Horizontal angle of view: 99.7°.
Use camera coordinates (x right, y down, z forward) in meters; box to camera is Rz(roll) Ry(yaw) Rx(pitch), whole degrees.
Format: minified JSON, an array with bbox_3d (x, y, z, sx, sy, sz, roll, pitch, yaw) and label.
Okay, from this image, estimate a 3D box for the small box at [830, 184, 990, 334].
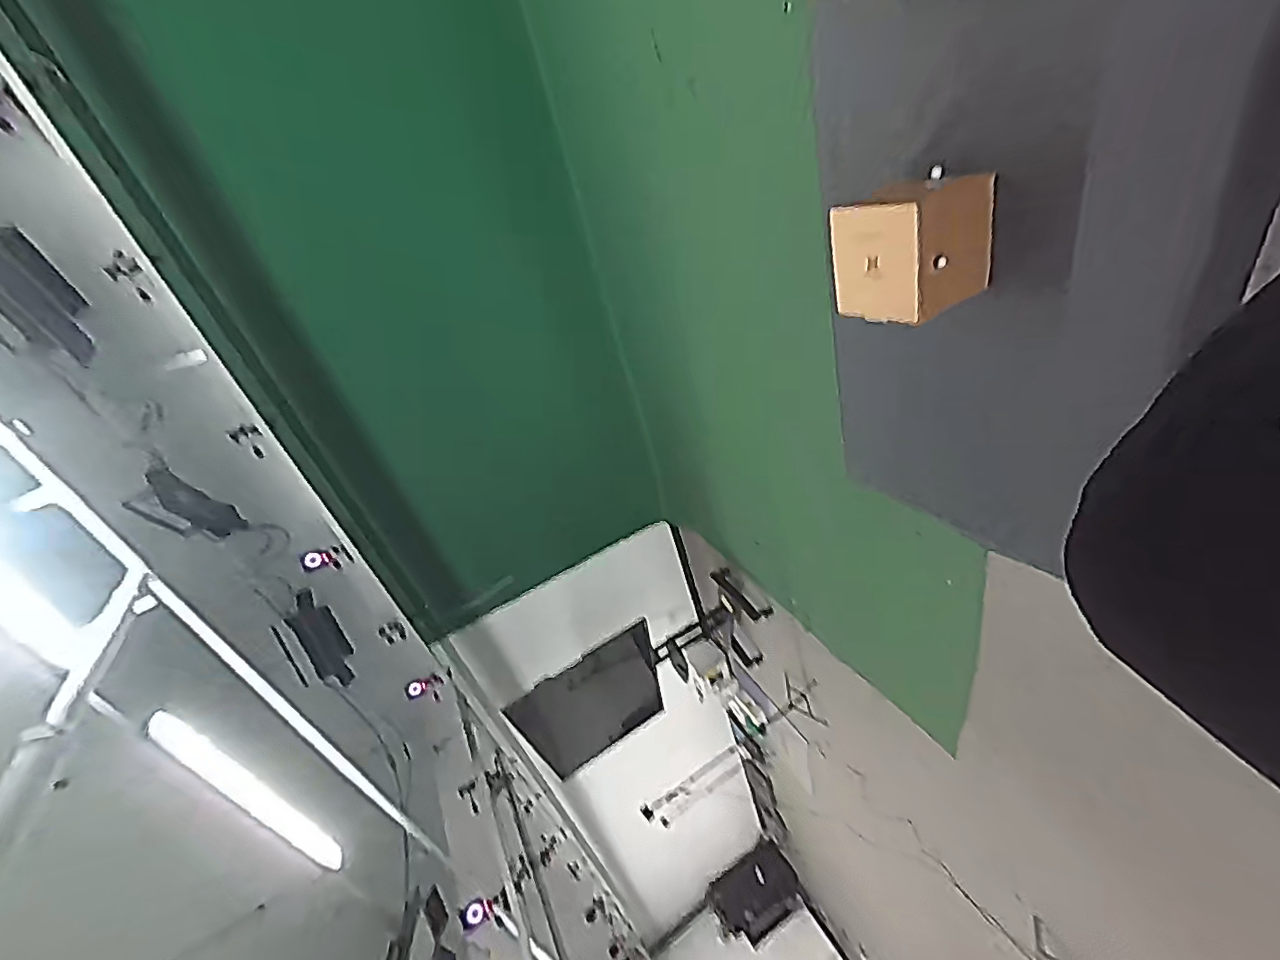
[{"bbox_3d":[0.440,-0.361,0.887,0.168,0.176,0.179,36,148,55],"label":"small box"}]
